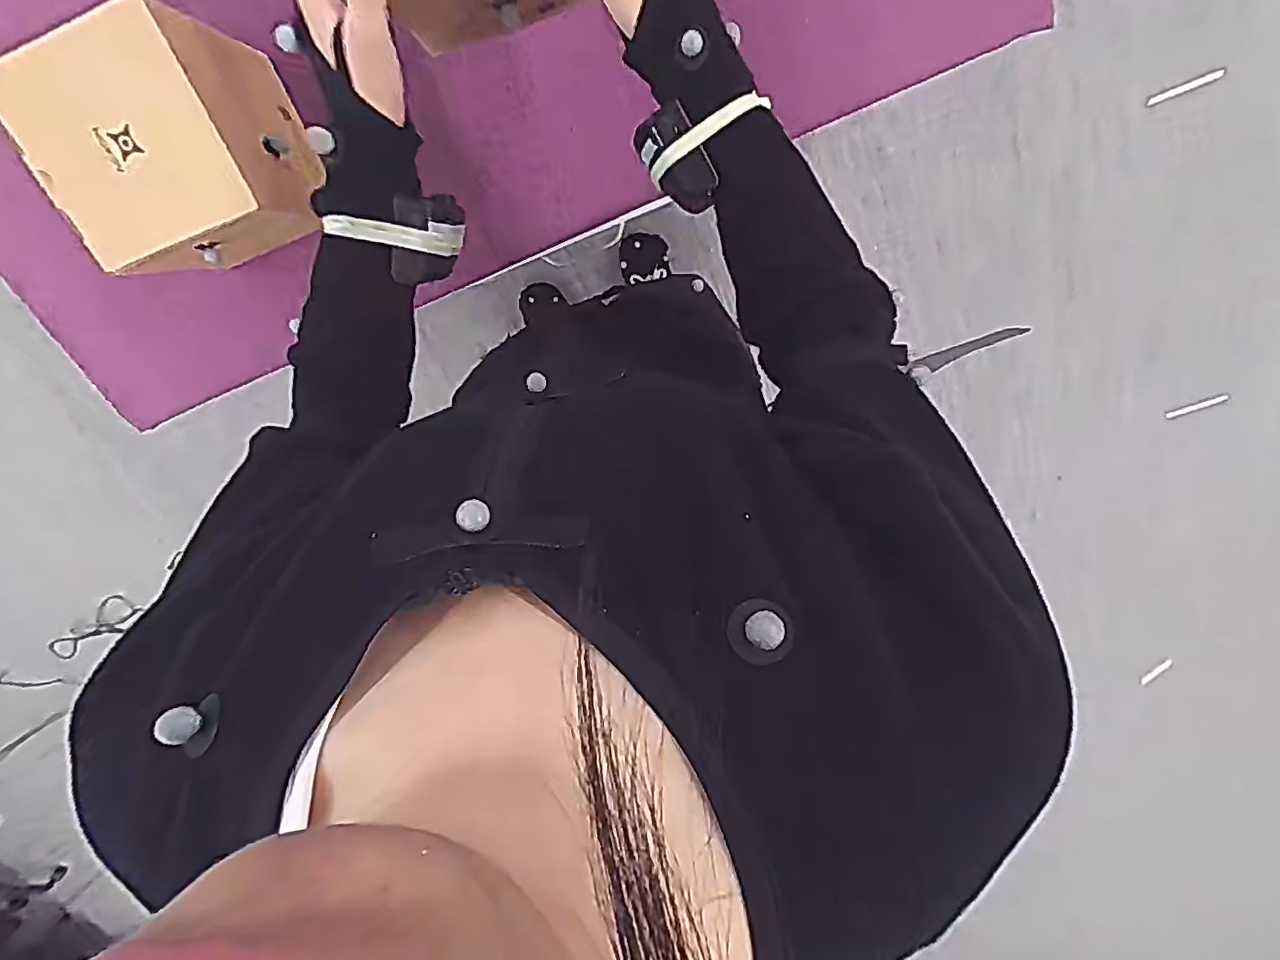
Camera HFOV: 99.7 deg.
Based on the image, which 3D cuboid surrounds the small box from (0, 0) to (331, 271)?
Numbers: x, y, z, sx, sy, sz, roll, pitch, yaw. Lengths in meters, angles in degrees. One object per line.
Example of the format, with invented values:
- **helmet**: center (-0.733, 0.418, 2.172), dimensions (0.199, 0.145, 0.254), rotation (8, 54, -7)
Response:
- **small box**: center (-0.449, -0.326, 0.540), dimensions (0.179, 0.176, 0.168), rotation (-17, 114, 9)

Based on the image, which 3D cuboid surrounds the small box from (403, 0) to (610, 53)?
- **small box**: center (-0.114, -0.430, 0.352), dimensions (0.168, 0.176, 0.179), rotation (-14, 110, 5)
